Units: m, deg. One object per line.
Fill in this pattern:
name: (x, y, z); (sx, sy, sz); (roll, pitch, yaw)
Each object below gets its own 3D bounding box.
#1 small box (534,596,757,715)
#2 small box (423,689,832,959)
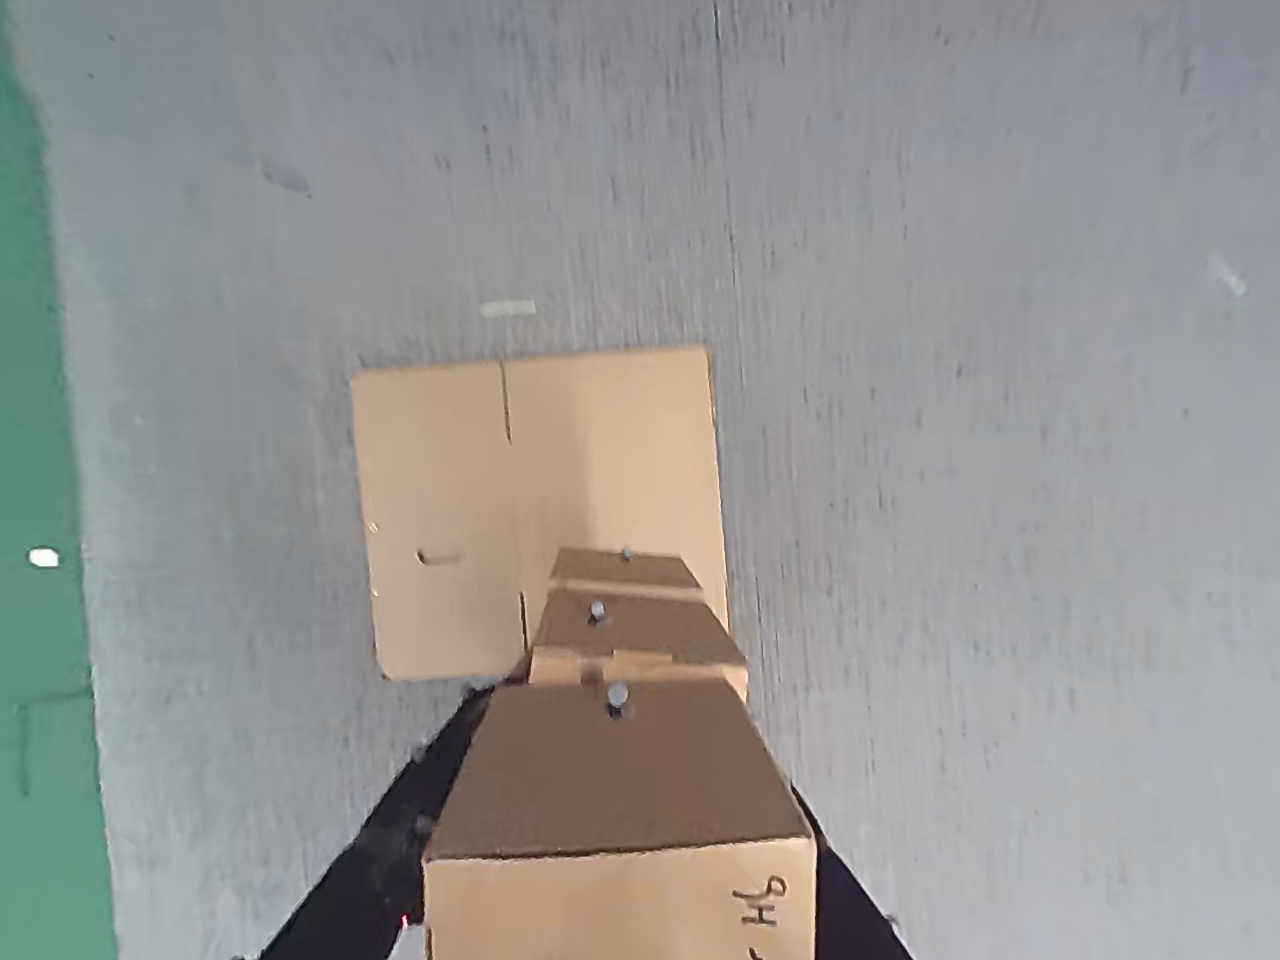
small box: (-0.010, 0.211, 0.475); (0.168, 0.176, 0.179); (6, 94, -5)
small box: (-0.007, 0.236, 0.312); (0.179, 0.176, 0.168); (-1, 94, -3)
